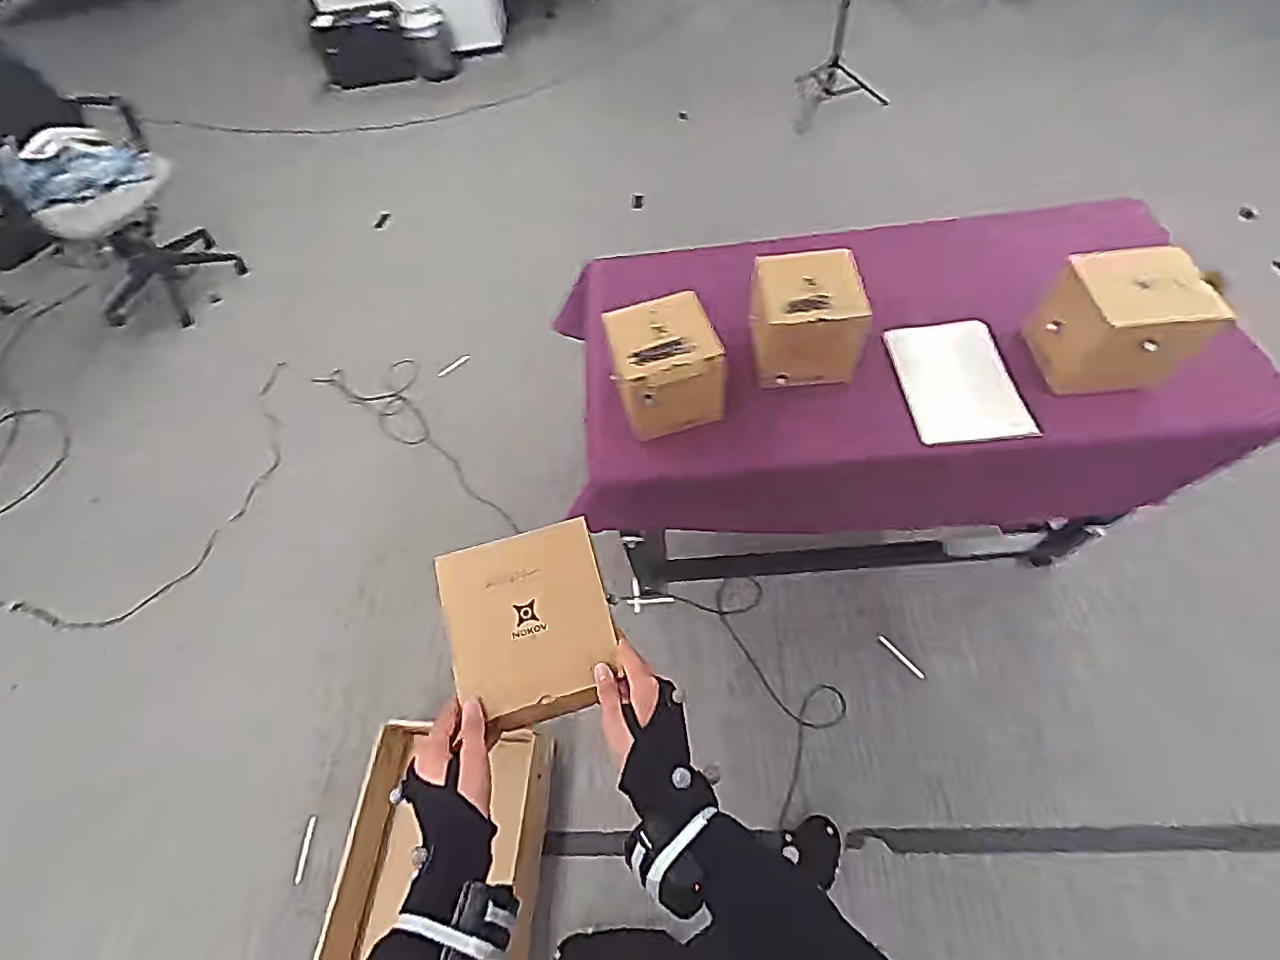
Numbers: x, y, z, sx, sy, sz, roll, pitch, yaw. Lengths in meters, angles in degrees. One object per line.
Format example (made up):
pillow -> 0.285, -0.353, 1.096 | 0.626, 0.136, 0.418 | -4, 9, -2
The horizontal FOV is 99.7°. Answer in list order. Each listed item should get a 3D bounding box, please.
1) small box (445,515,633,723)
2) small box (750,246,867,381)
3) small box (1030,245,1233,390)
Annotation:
small box -> -0.105, 0.158, 0.623 | 0.168, 0.176, 0.179 | -14, 73, -6
small box -> 0.299, -0.297, 0.998 | 0.168, 0.176, 0.179 | -4, 59, 4
small box -> 0.806, -0.268, 0.919 | 0.179, 0.176, 0.168 | -3, 60, 5
